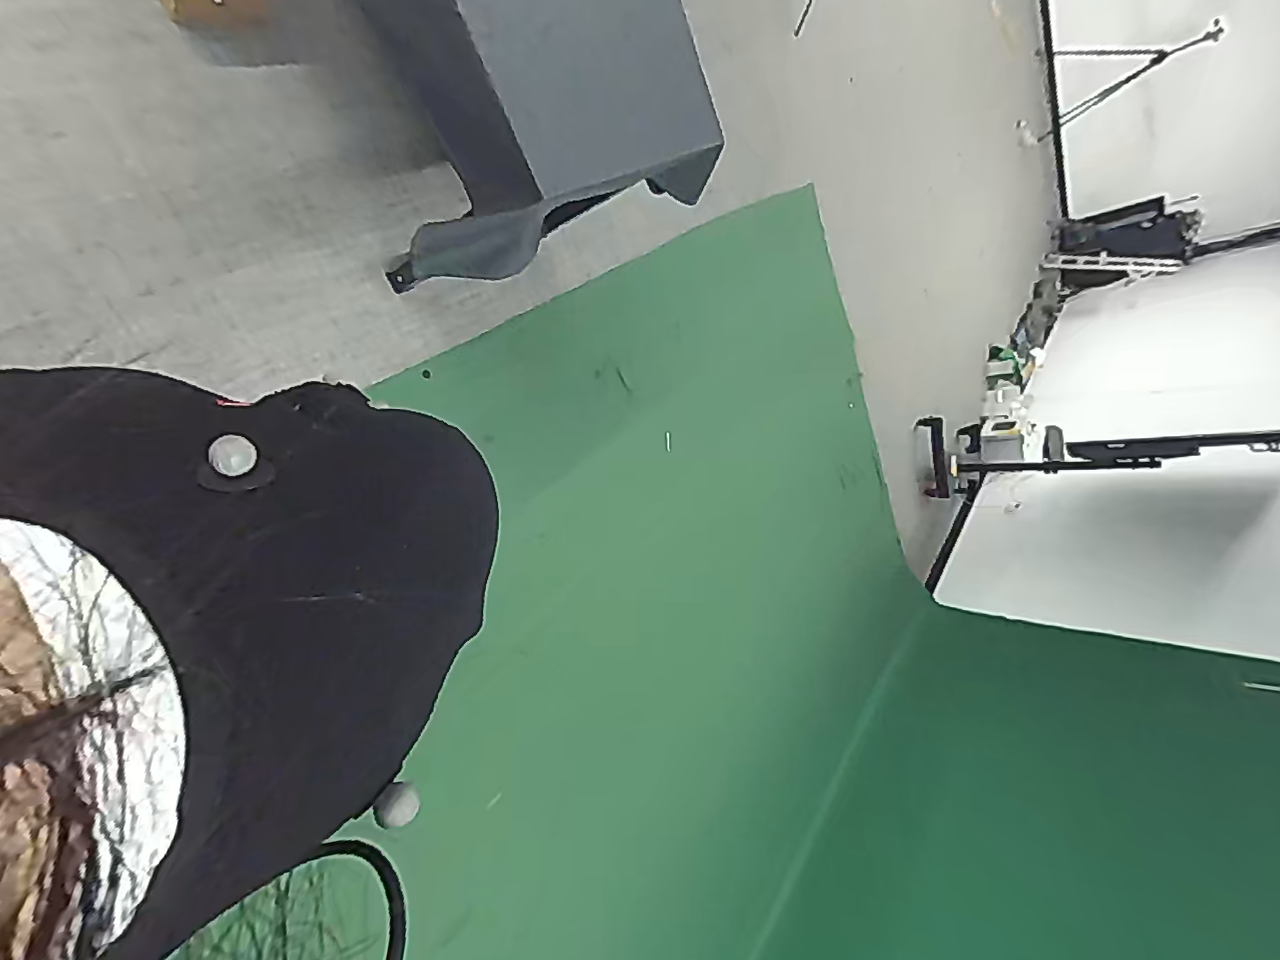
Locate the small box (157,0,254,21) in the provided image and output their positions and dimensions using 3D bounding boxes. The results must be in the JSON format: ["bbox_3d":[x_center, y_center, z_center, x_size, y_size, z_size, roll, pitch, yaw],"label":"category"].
[{"bbox_3d":[-0.921,-1.086,1.108,0.179,0.176,0.168,-37,114,-38],"label":"small box"}]

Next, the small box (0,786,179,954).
[{"bbox_3d":[-1.019,0.715,1.012,0.168,0.176,0.179,-47,120,-34],"label":"small box"}]
